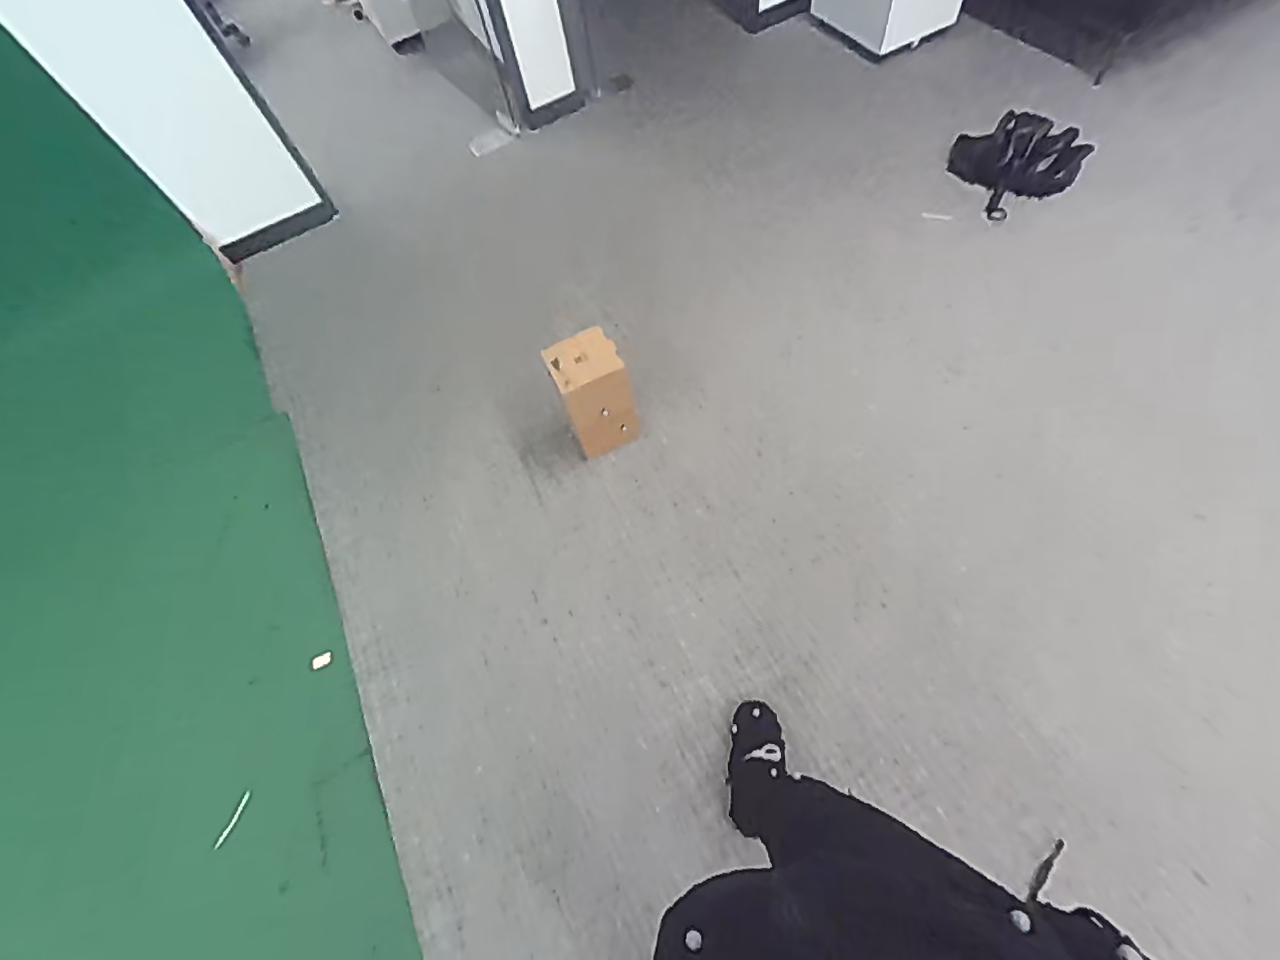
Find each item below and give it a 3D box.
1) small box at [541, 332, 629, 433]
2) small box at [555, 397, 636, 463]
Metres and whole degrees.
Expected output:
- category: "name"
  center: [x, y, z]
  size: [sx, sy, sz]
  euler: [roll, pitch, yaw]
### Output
- category: "small box"
  center: [-0.140, -0.257, 1.450]
  size: [0.179, 0.176, 0.168]
  euler: [-26, 61, -7]
- category: "small box"
  center: [-0.123, -0.181, 1.594]
  size: [0.179, 0.176, 0.168]
  euler: [-29, 62, -6]
